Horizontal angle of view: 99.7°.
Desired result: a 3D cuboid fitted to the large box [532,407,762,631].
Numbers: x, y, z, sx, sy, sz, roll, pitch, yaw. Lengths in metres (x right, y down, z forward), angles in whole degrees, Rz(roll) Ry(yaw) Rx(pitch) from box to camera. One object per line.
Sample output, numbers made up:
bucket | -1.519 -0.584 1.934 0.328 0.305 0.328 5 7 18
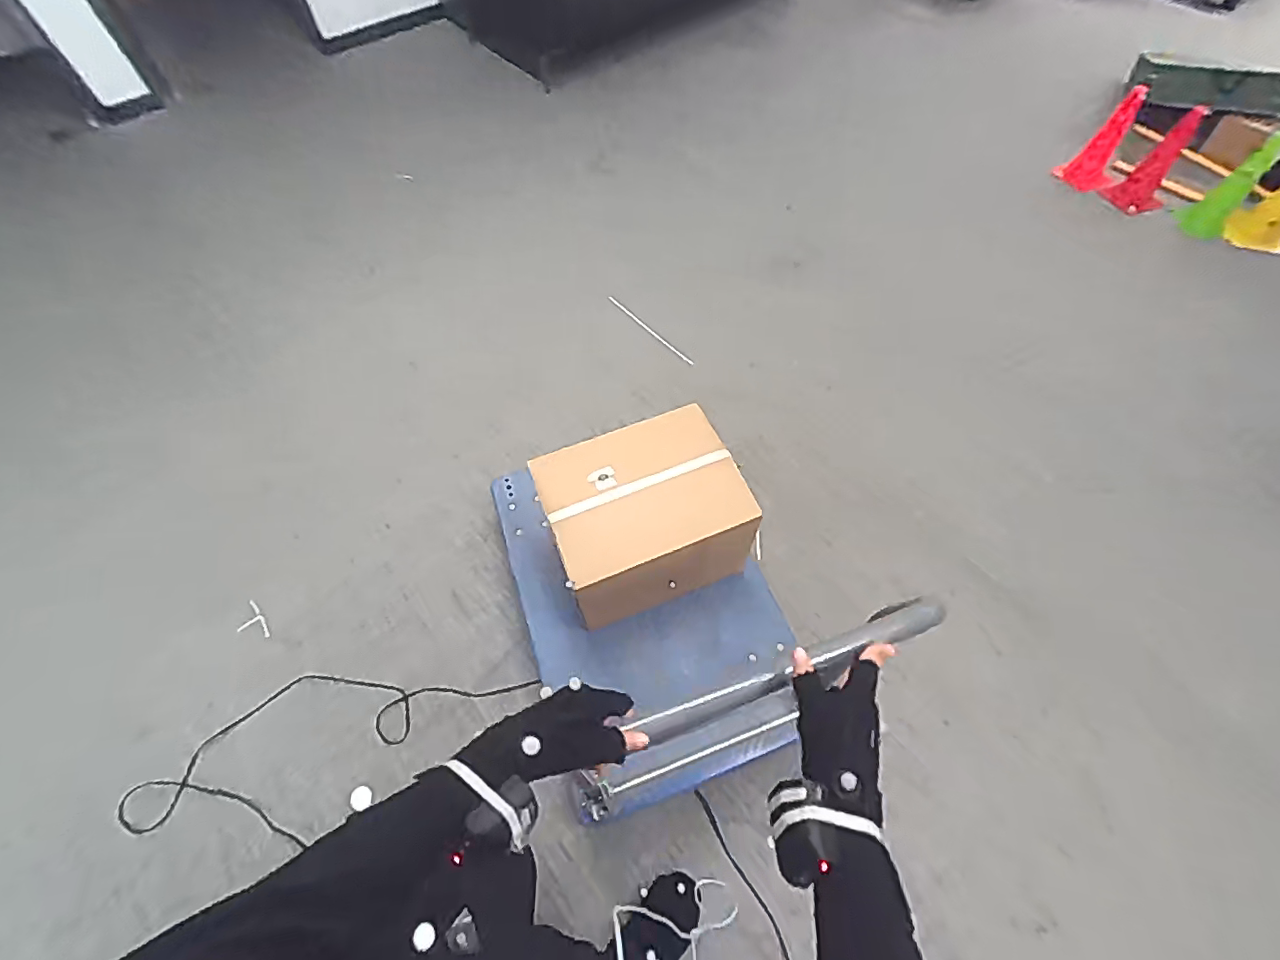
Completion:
large box | 0.013 0.097 1.250 0.408 0.320 0.320 -22 61 -10
